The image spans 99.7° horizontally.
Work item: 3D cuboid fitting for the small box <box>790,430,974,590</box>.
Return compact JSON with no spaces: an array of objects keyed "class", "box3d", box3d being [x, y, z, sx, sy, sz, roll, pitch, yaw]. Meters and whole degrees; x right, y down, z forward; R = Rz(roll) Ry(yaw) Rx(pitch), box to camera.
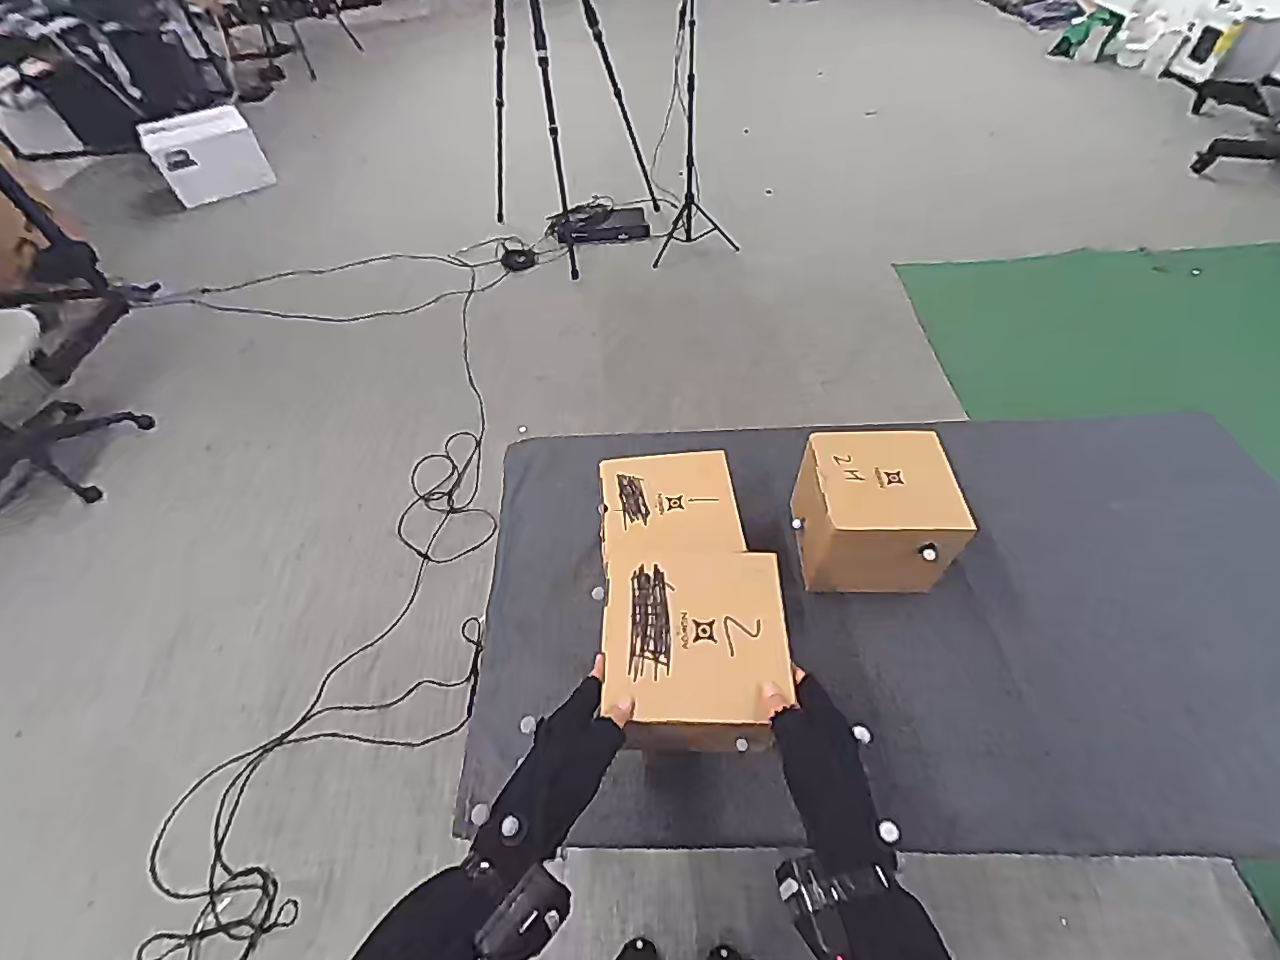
[{"class":"small box","box3d":[0.324,0.046,0.768,0.179,0.176,0.168,-1,51,3]}]
